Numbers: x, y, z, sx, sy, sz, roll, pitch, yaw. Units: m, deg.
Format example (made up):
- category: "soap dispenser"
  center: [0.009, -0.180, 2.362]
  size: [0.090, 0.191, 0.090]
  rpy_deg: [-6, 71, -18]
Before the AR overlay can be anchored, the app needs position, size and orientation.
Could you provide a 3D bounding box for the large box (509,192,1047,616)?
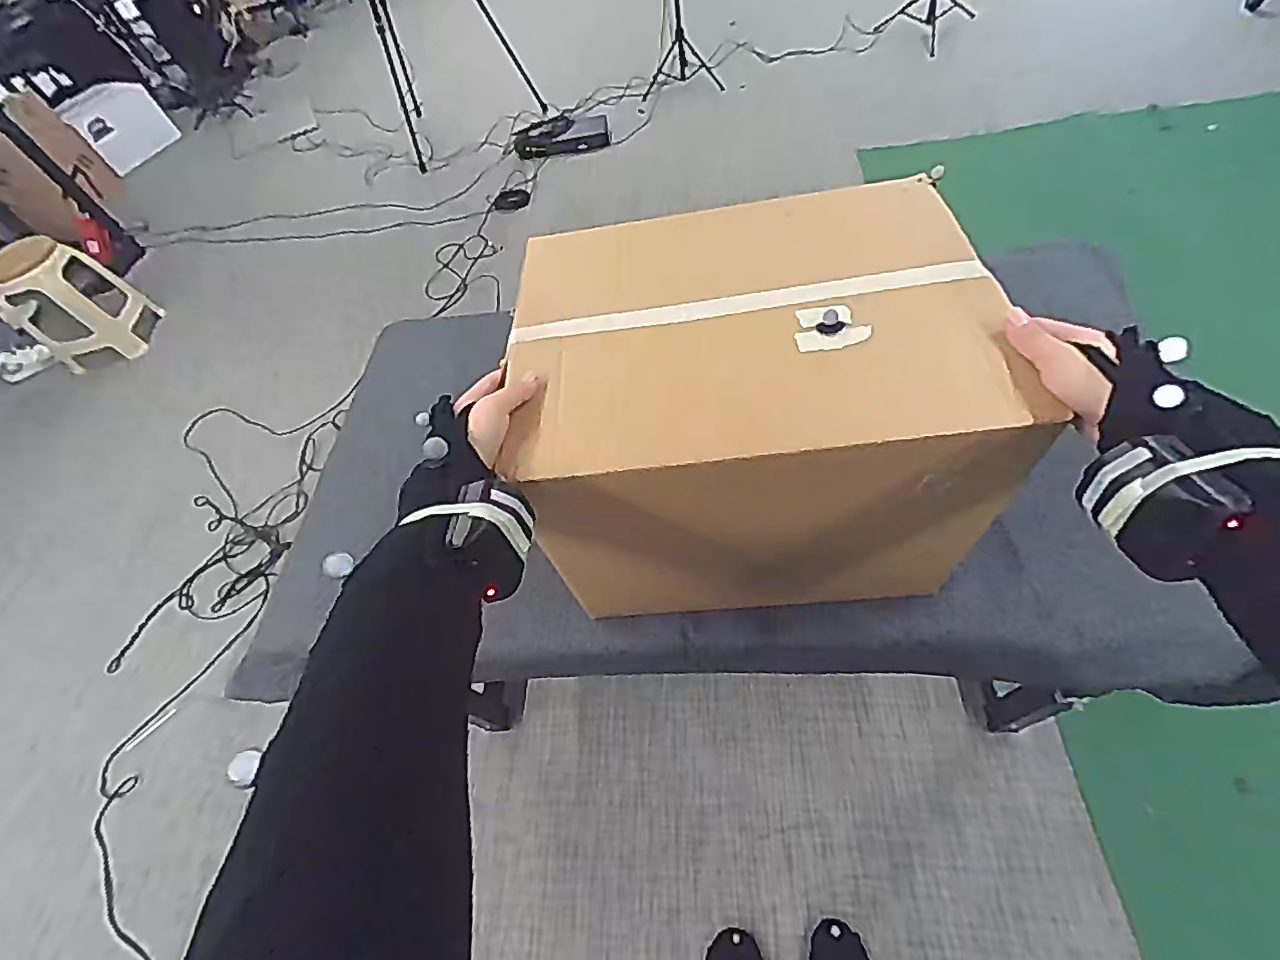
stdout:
- category: "large box"
  center: [0.106, -0.063, 0.602]
  size: [0.408, 0.320, 0.320]
  rpy_deg: [-6, 56, 6]
